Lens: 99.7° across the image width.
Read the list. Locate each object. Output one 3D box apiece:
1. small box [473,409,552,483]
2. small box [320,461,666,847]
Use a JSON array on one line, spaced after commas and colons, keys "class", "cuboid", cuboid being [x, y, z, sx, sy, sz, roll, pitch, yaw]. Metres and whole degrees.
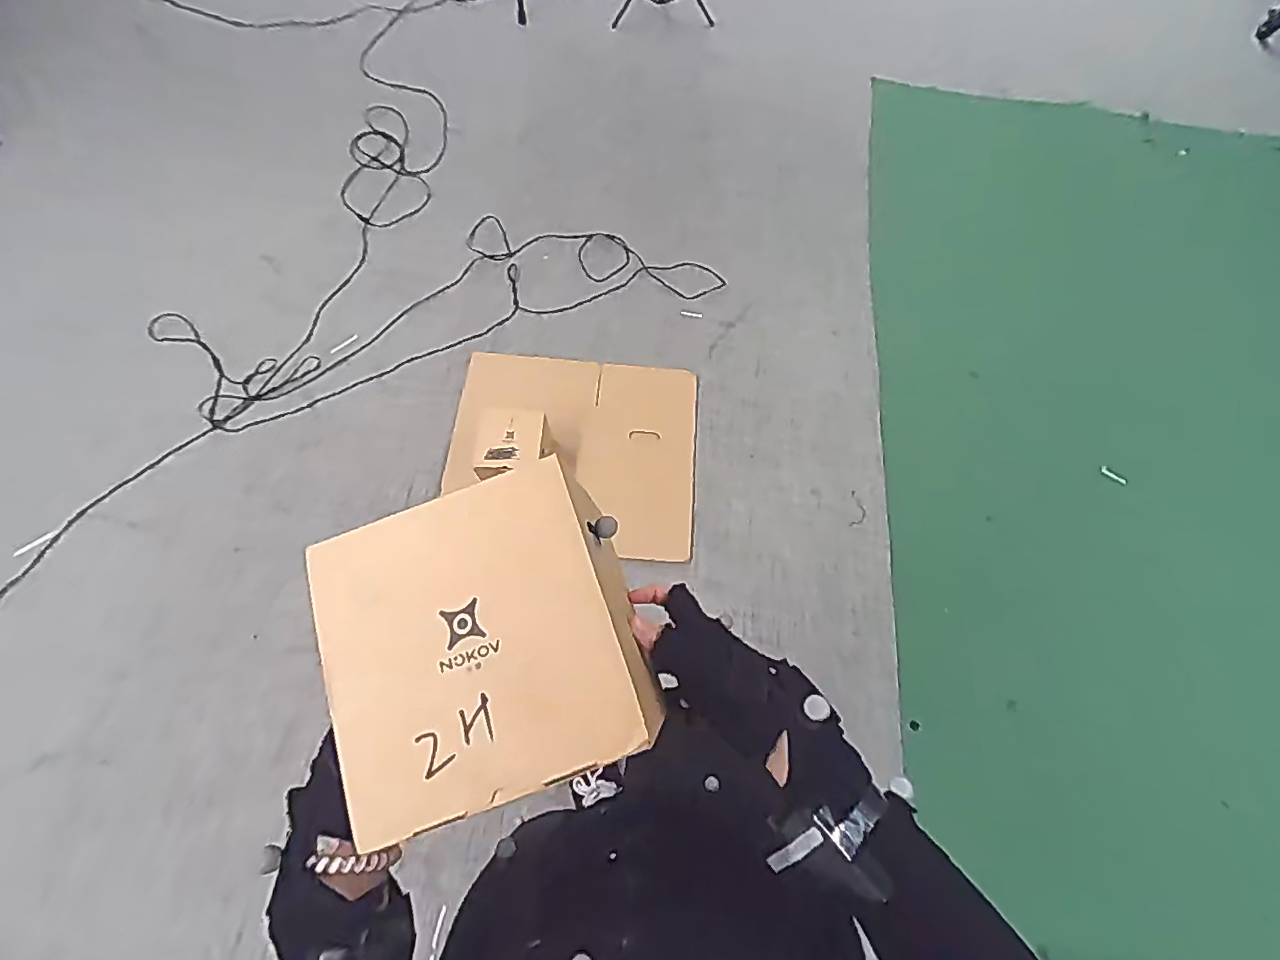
[{"class": "small box", "cuboid": [-0.332, -0.070, 1.448, 0.168, 0.176, 0.179, 3, 67, -1]}, {"class": "small box", "cuboid": [-0.087, 0.113, 0.385, 0.168, 0.176, 0.179, -20, 73, 0]}]
